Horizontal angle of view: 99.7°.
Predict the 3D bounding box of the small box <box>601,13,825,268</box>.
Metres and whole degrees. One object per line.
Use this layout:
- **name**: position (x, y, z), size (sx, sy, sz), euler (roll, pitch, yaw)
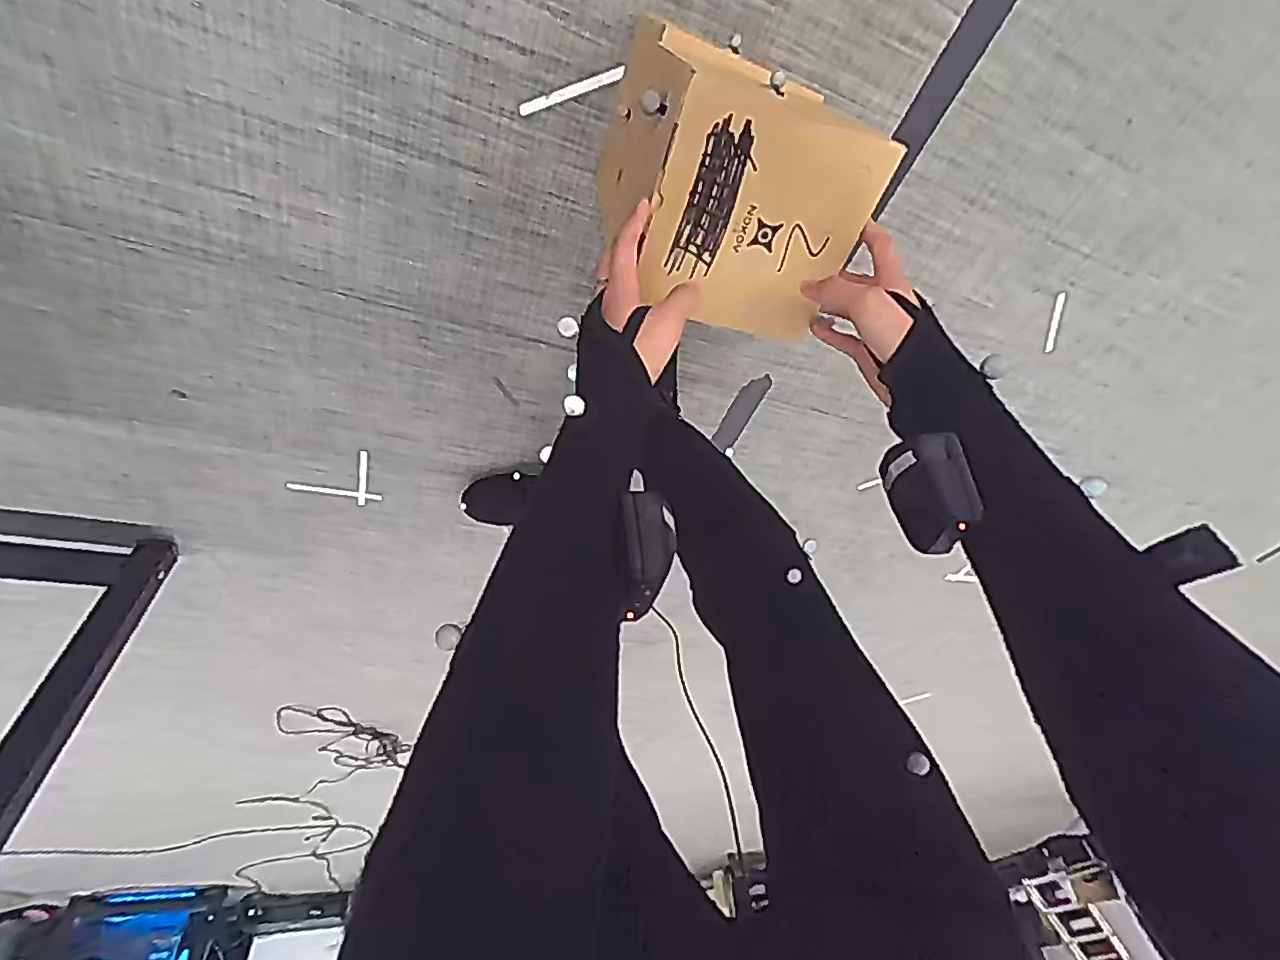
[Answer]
- **small box**: position (0.060, -0.369, 0.589), size (0.168, 0.176, 0.179), euler (10, 132, -19)
